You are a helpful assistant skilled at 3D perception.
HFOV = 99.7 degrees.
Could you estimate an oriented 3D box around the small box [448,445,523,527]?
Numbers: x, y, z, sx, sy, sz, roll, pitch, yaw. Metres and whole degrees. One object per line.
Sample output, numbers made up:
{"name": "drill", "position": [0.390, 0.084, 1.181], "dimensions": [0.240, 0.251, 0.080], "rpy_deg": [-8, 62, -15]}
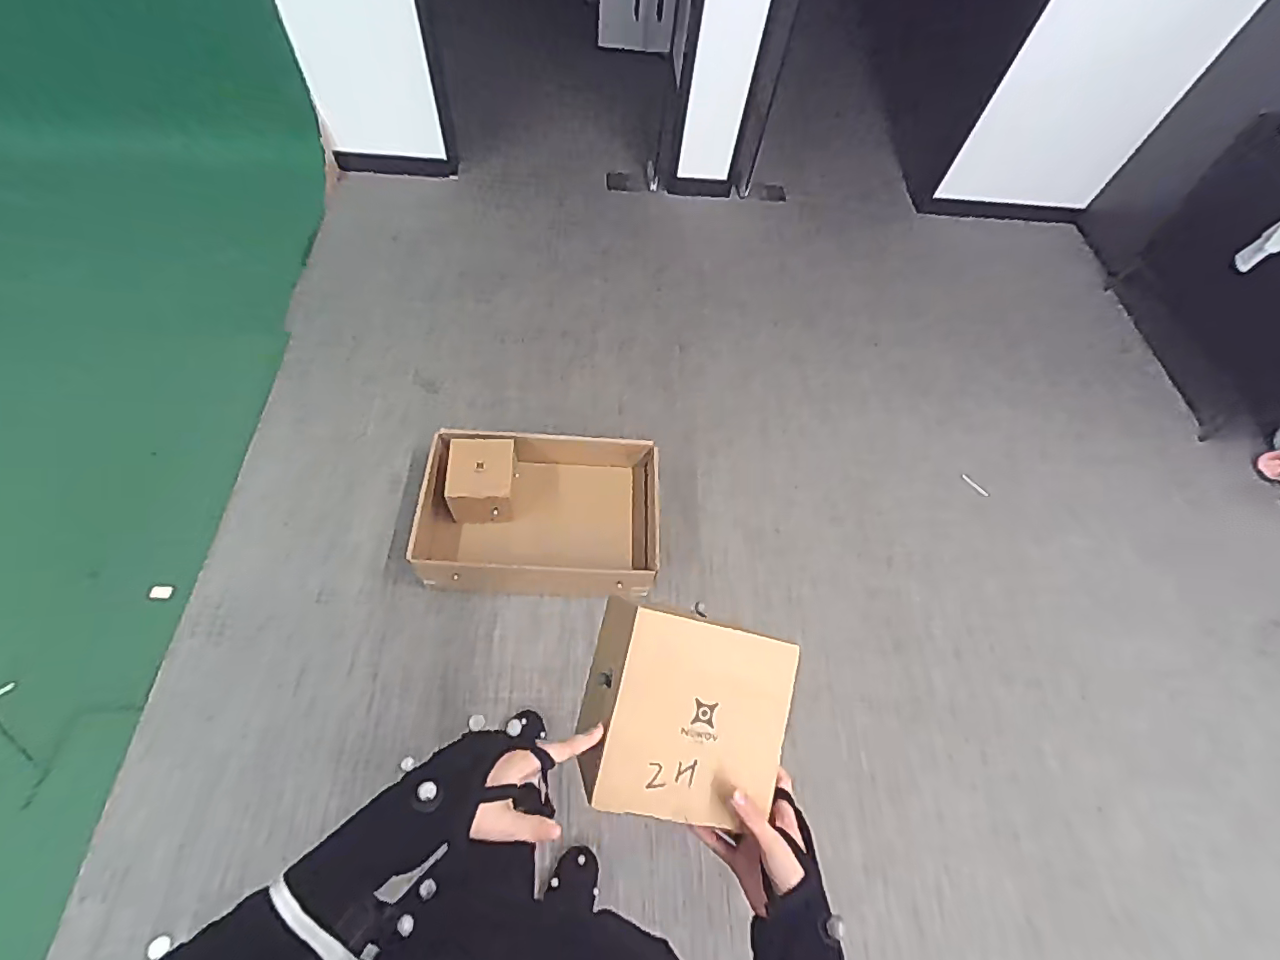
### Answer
{"name": "small box", "position": [-0.413, 0.021, 1.478], "dimensions": [0.168, 0.176, 0.179], "rpy_deg": [0, 61, -6]}

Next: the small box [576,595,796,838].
{"name": "small box", "position": [0.035, 0.225, 0.561], "dimensions": [0.168, 0.176, 0.179], "rpy_deg": [16, 81, -9]}
